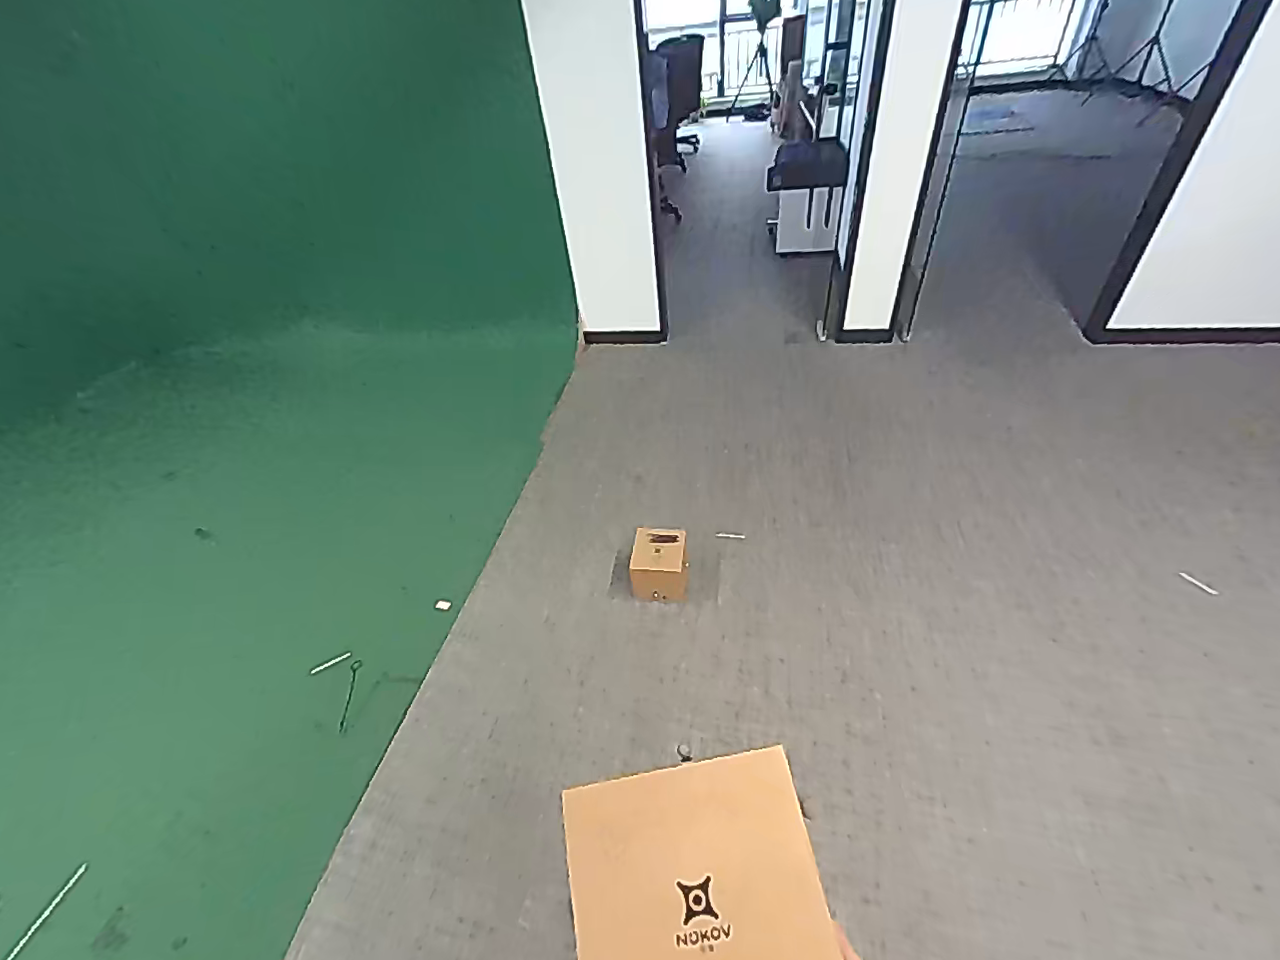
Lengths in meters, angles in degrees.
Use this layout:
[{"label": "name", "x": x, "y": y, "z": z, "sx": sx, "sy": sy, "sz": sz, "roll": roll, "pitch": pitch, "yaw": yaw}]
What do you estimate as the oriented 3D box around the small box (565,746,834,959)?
[{"label": "small box", "x": 0.048, "y": 0.323, "z": 0.429, "sx": 0.168, "sy": 0.176, "sz": 0.179, "roll": -14, "pitch": 62, "yaw": 4}]
